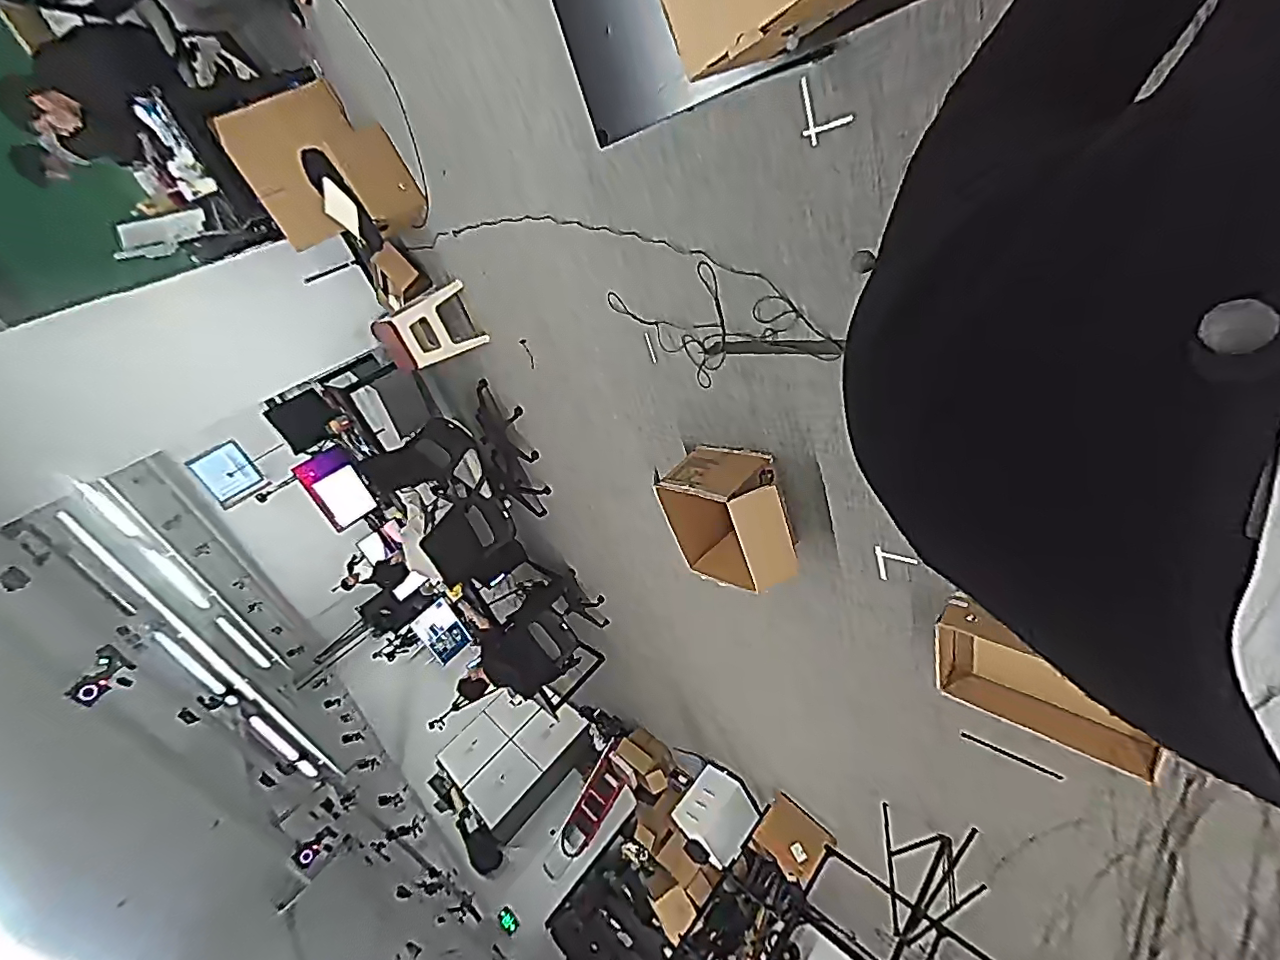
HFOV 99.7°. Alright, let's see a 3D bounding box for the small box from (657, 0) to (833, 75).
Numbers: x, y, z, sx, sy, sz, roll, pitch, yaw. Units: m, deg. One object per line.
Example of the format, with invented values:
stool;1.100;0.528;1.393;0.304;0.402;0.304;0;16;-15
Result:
small box;0.120;-0.573;0.561;0.168;0.176;0.179;6;129;51
